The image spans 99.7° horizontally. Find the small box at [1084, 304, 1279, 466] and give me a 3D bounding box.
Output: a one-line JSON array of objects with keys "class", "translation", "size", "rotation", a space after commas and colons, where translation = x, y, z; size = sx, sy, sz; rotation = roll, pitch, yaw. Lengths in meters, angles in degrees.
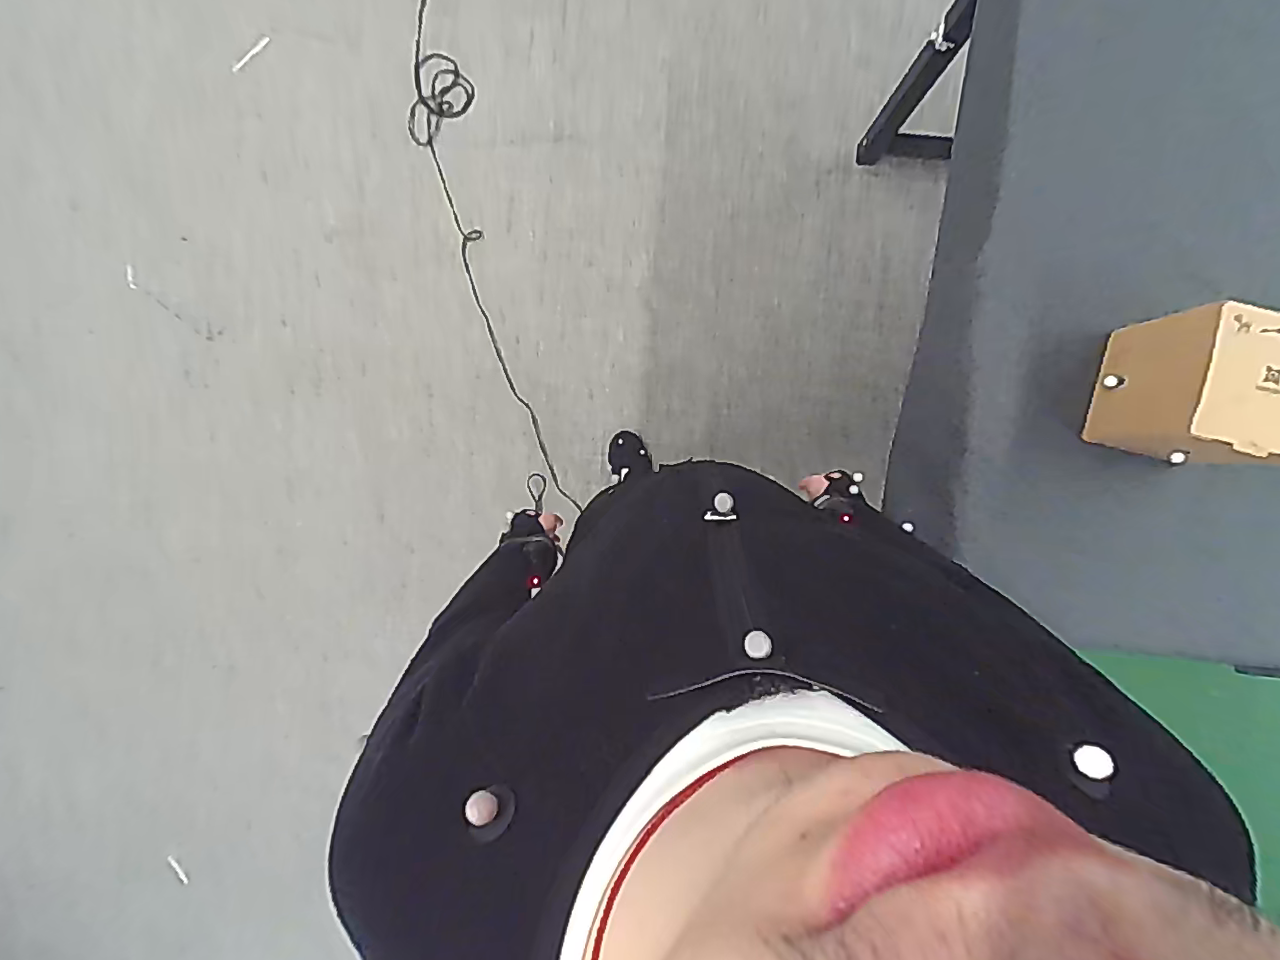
[{"class": "small box", "translation": [0.783, -0.123, 0.762], "size": [0.168, 0.176, 0.179], "rotation": [14, 93, -1]}]

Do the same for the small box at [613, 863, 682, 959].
[{"class": "small box", "translation": [0.018, 1.235, 1.529], "size": [0.168, 0.176, 0.179], "rotation": [8, 92, -2]}]
